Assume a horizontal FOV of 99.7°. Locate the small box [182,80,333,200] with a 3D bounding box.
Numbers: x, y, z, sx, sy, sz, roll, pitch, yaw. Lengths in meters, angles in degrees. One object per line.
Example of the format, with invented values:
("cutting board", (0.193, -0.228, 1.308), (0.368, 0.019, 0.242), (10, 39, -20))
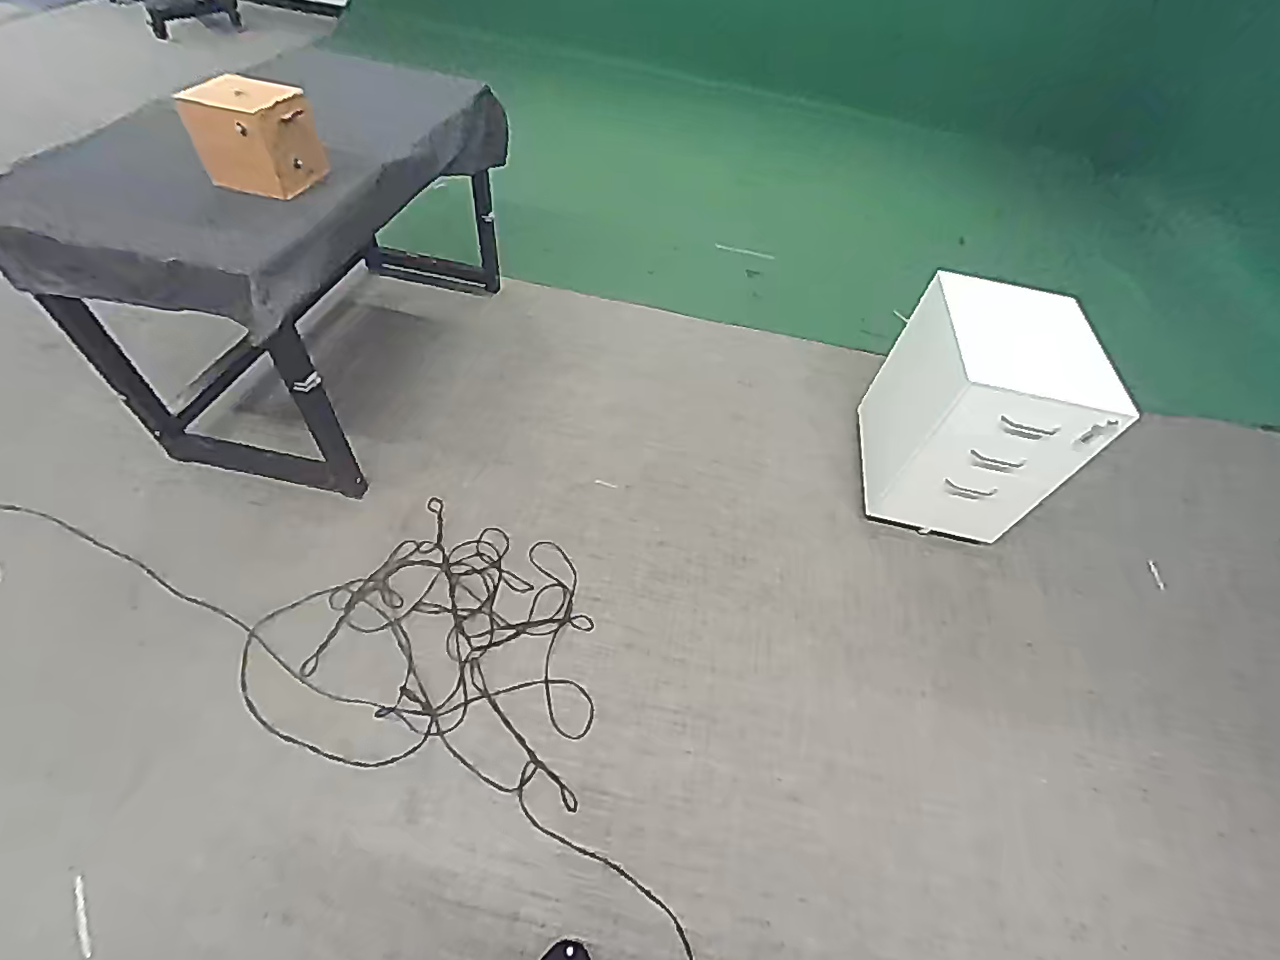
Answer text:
("small box", (-0.808, -0.729, 1.166), (0.179, 0.176, 0.168), (13, 50, 2))
